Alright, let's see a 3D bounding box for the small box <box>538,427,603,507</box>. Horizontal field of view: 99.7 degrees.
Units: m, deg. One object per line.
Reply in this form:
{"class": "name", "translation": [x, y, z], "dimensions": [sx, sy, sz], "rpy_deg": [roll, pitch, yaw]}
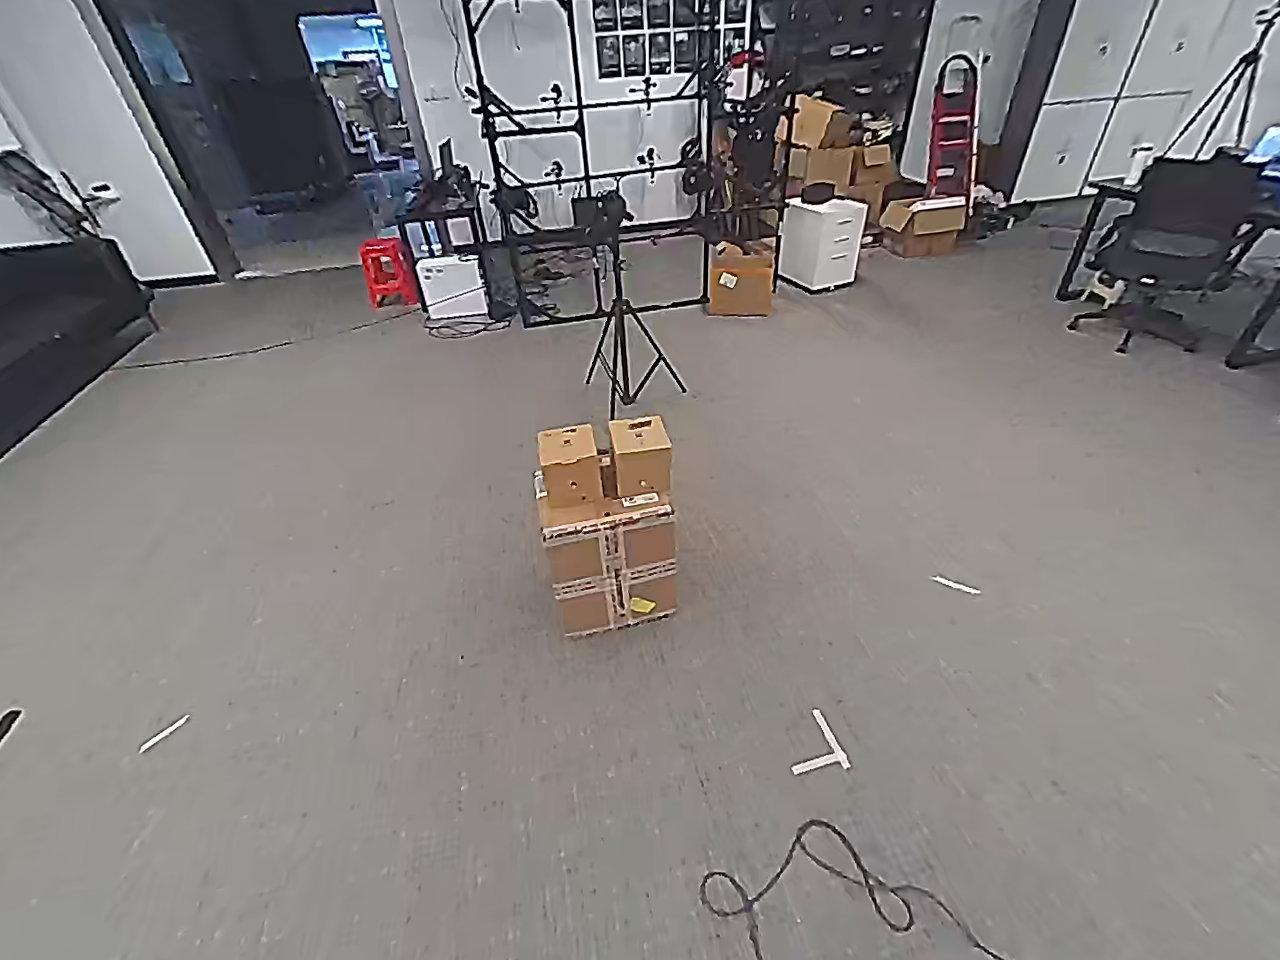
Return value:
{"class": "small box", "translation": [-0.210, -0.034, 1.641], "dimensions": [0.168, 0.176, 0.179], "rpy_deg": [-10, 40, -5]}

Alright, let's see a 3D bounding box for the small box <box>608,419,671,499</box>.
{"class": "small box", "translation": [-0.004, -0.065, 1.666], "dimensions": [0.168, 0.176, 0.179], "rpy_deg": [-8, 40, -8]}
